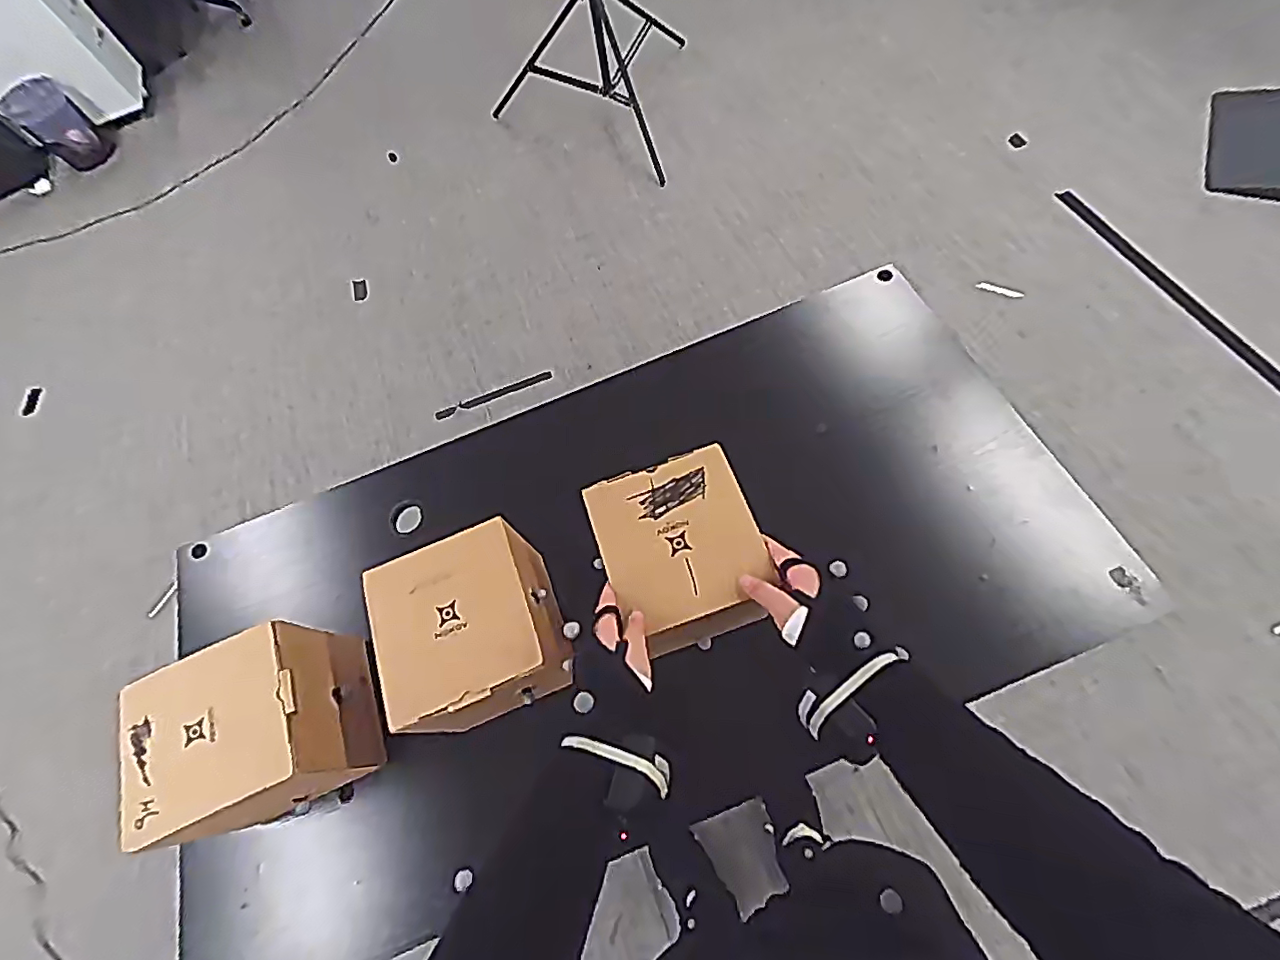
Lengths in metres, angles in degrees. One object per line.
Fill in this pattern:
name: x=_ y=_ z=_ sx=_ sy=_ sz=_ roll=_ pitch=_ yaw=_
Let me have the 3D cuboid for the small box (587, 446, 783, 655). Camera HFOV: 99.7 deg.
small box: x=0.047 y=0.091 z=0.641 sx=0.168 sy=0.176 sz=0.179 roll=-18 pitch=65 yaw=-3

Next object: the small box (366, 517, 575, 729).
small box: x=-0.190 y=0.174 z=0.641 sx=0.168 sy=0.176 sz=0.179 roll=-22 pitch=64 yaw=-4

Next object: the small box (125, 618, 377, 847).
small box: x=-0.428 y=0.280 z=0.622 sx=0.179 sy=0.176 sz=0.168 roll=-24 pitch=65 yaw=-5
